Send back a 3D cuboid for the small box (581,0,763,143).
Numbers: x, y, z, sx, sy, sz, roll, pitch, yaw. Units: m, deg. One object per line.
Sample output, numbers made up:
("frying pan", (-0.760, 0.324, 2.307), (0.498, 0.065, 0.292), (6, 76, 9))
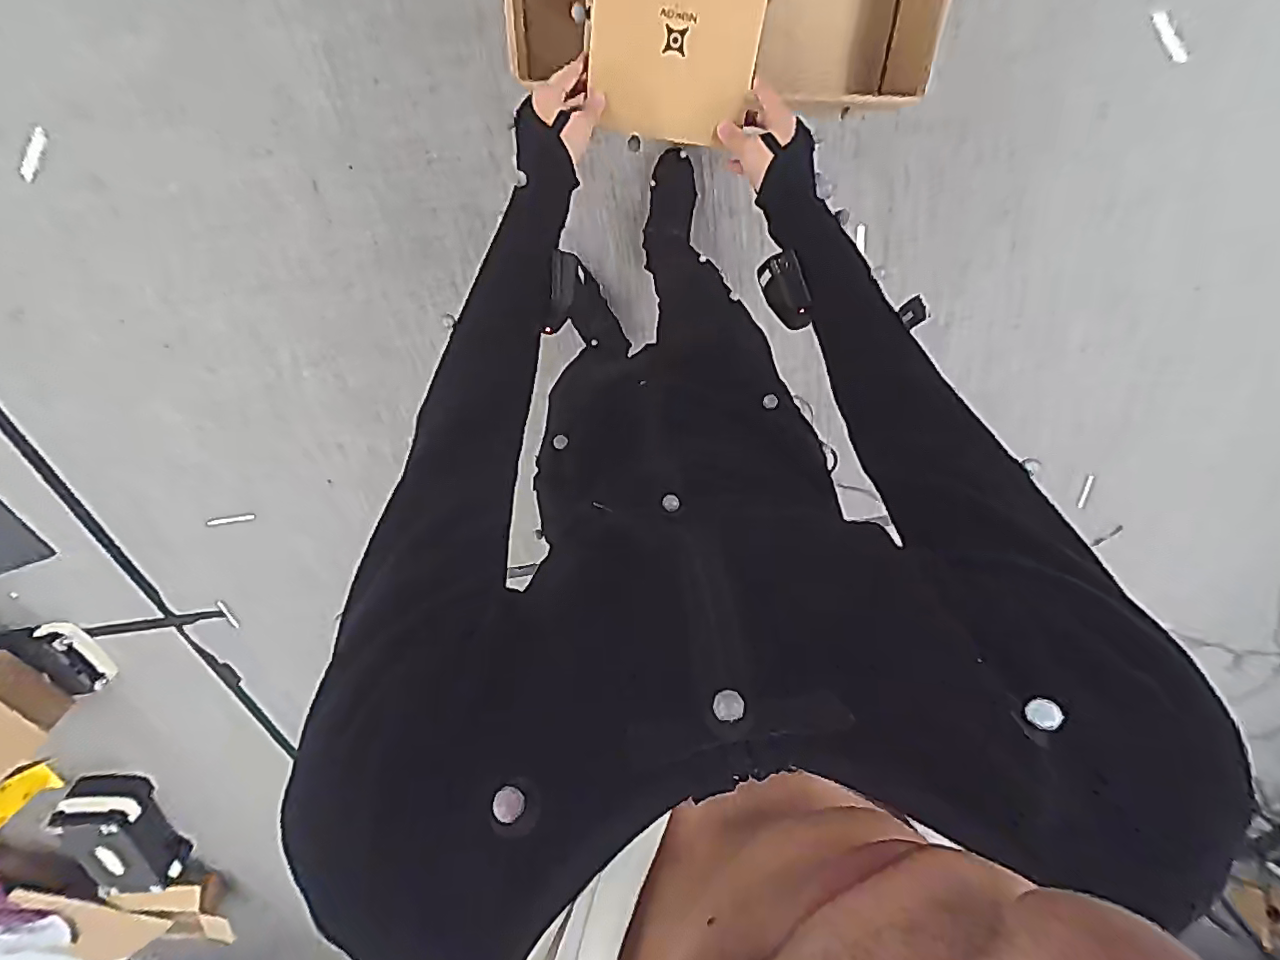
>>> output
("small box", (0.024, -0.475, 0.579), (0.168, 0.176, 0.179), (2, 121, -9))
